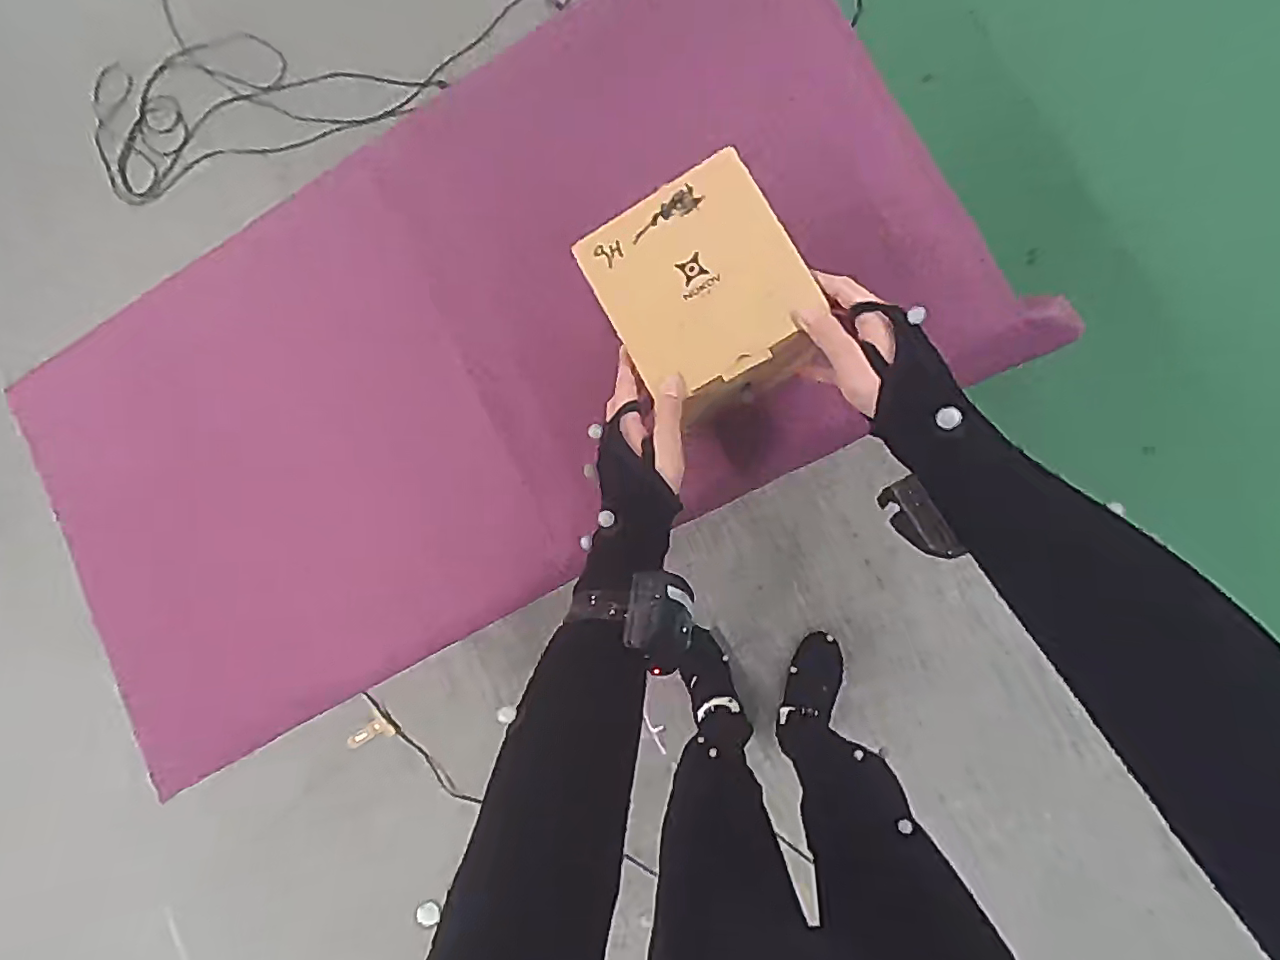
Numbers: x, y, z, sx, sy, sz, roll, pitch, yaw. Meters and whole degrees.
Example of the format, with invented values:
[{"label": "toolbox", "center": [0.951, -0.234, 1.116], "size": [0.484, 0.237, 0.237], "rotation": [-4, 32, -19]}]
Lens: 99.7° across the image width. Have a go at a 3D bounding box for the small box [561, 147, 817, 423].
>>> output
[{"label": "small box", "center": [0.053, -0.169, 0.538], "size": [0.168, 0.176, 0.179], "rotation": [-29, 83, 8]}]
